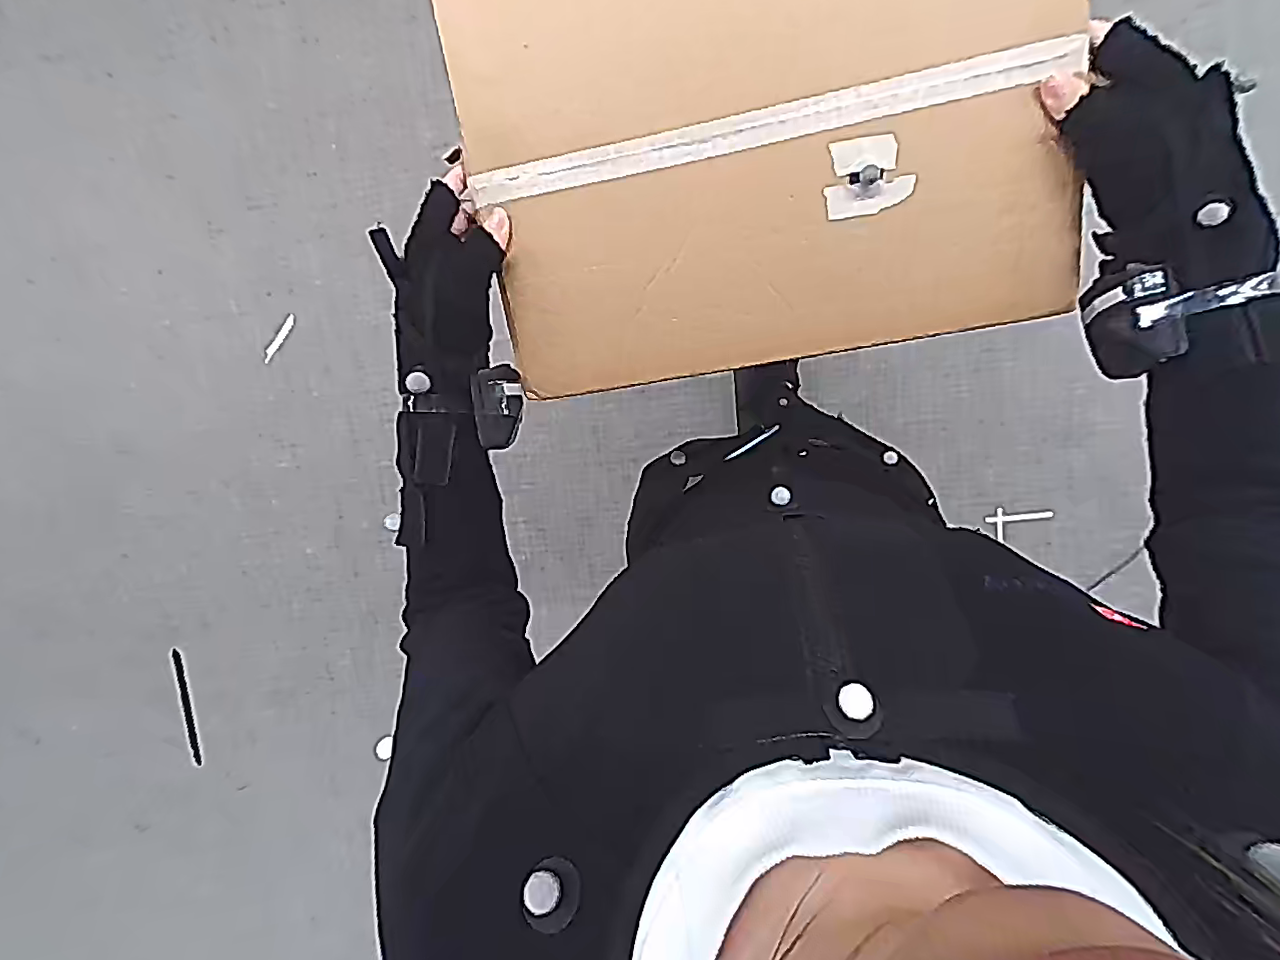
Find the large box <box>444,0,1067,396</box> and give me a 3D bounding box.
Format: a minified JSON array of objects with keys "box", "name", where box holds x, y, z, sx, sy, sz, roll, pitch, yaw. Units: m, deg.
[{"box":[0.093,-0.286,0.521,0.408,0.320,0.320,-9,106,7],"name":"large box"}]
